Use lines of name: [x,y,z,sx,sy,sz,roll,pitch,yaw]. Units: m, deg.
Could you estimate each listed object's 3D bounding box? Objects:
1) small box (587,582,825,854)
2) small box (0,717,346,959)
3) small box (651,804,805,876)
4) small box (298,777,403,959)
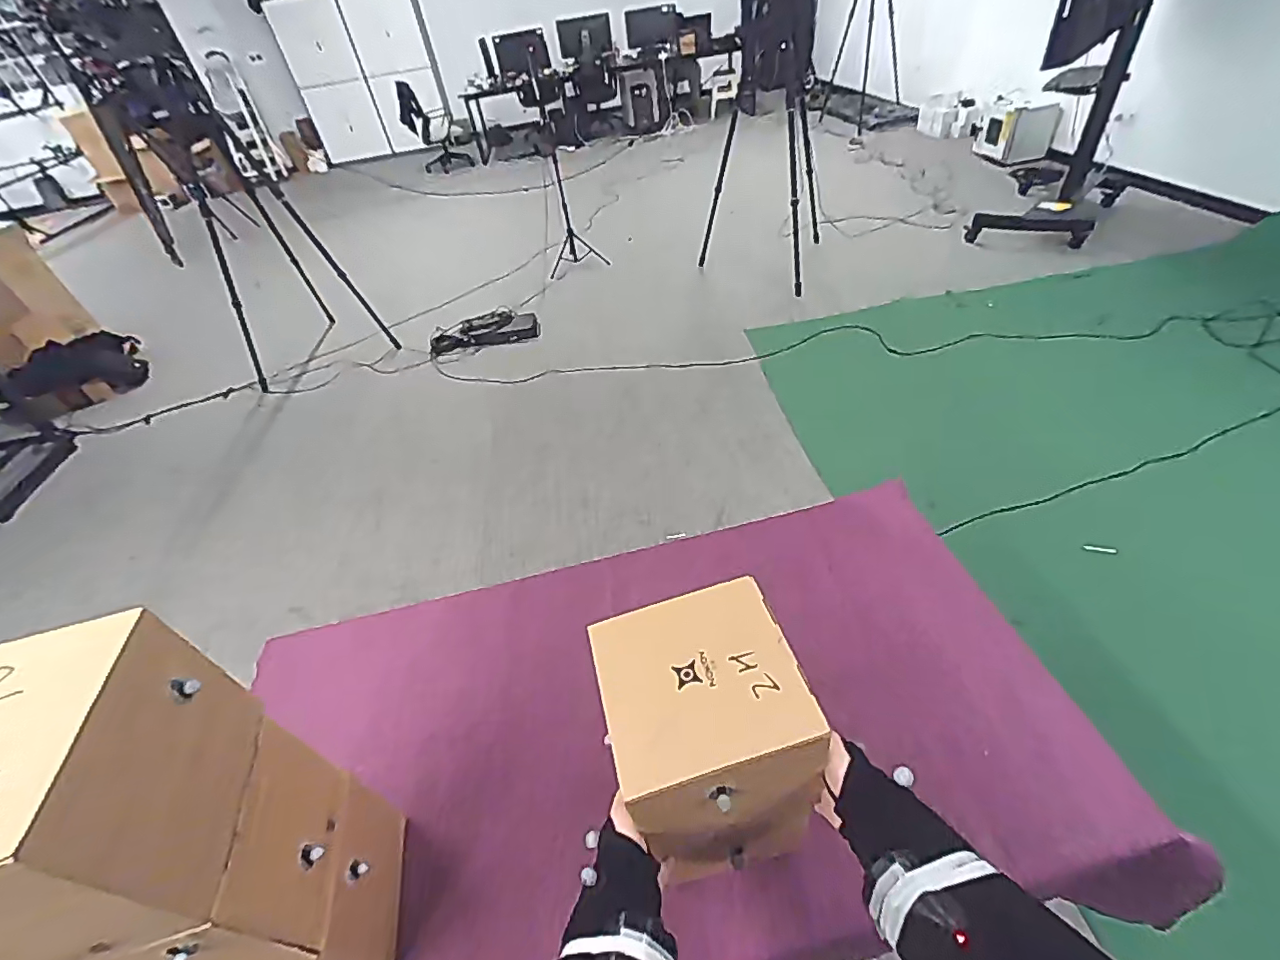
small box: [0.061,0.235,0.532,0.179,0.176,0.168,-16,42,-4]
small box: [-0.411,0.358,0.503,0.179,0.176,0.168,-14,43,-7]
small box: [0.086,0.354,0.656,0.168,0.176,0.179,-13,43,-4]
small box: [-0.387,0.476,0.612,0.168,0.176,0.179,-13,42,-5]
